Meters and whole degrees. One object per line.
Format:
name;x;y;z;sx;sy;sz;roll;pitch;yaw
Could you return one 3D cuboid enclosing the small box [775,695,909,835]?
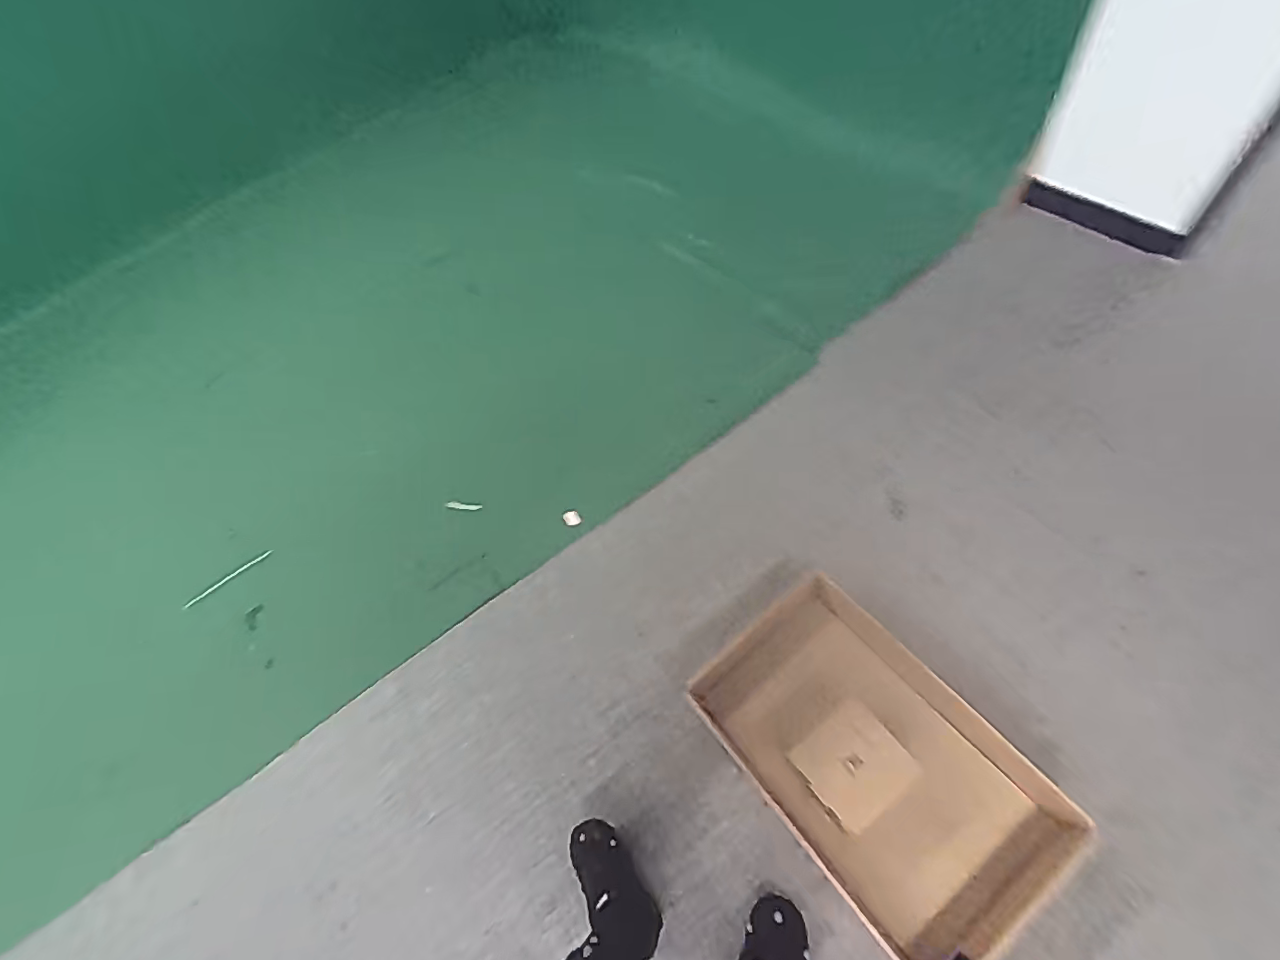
small box;0.383;0.556;1.055;0.179;0.176;0.168;-36;60;-11
